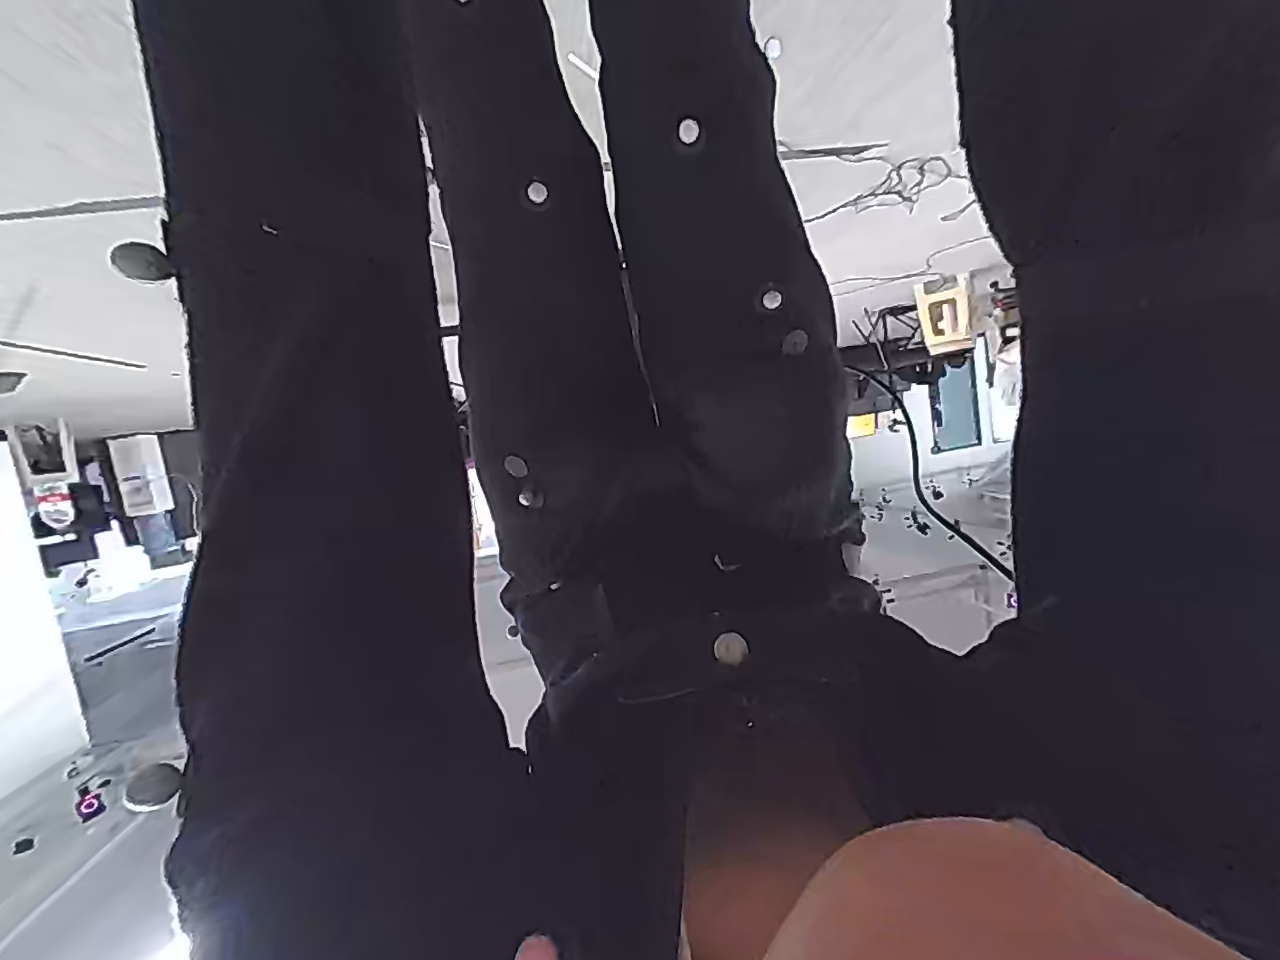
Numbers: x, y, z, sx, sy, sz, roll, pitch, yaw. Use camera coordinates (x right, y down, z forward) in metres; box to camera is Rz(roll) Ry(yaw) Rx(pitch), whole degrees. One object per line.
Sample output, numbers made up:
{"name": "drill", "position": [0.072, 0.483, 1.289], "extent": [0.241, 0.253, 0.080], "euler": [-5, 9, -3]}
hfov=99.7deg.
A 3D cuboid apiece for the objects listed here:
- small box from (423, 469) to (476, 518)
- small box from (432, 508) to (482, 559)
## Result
{"name": "small box", "position": [-0.773, 0.048, 2.204], "extent": [0.168, 0.176, 0.179], "euler": [-11, -174, -11]}
{"name": "small box", "position": [-0.747, 0.210, 2.216], "extent": [0.168, 0.176, 0.179], "euler": [-11, -173, -14]}
